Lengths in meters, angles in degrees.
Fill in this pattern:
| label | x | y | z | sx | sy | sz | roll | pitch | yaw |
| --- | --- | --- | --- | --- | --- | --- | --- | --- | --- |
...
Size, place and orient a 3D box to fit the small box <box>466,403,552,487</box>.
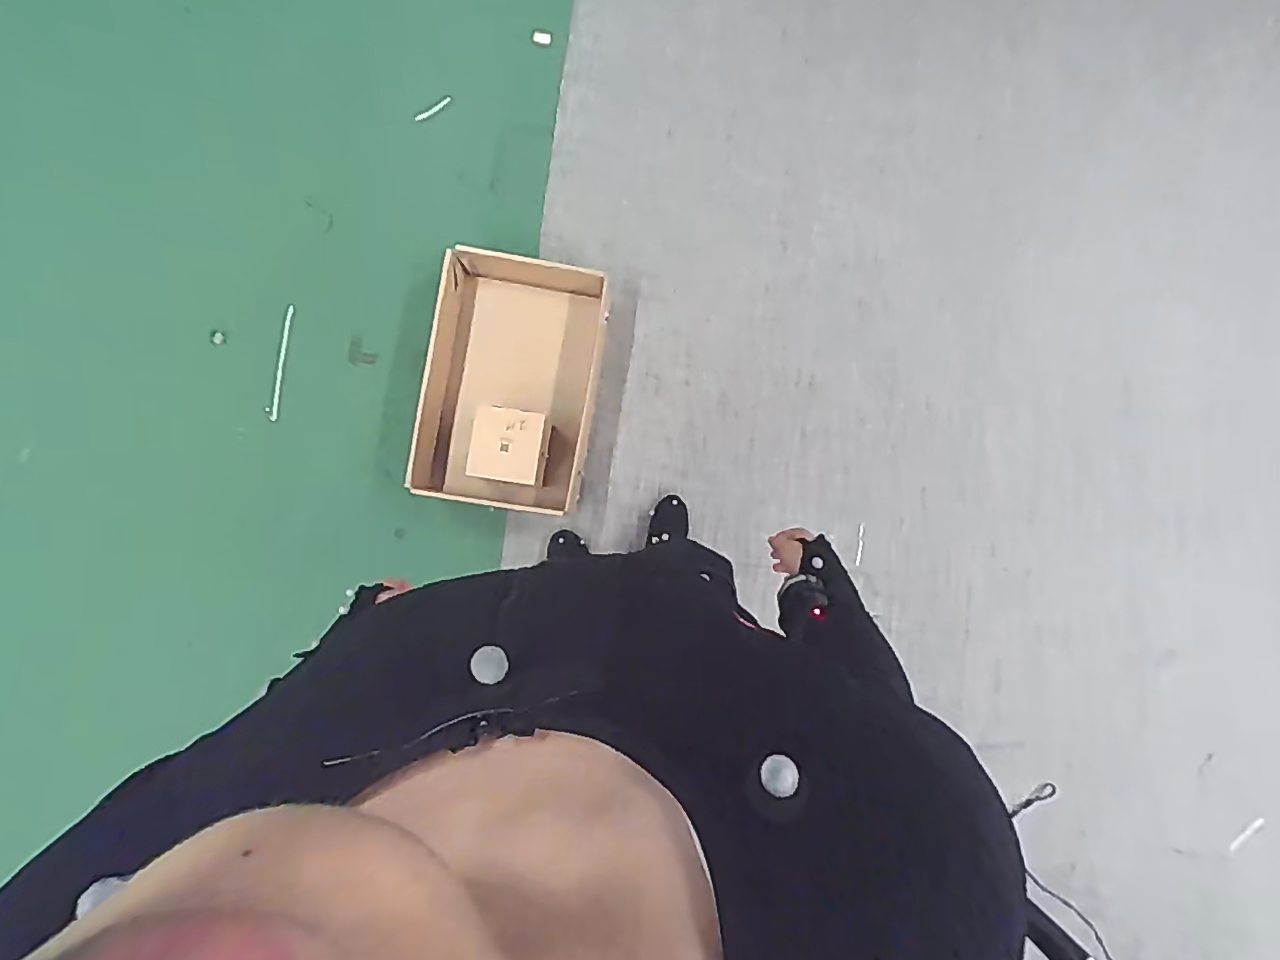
| label | x | y | z | sx | sy | sz | roll | pitch | yaw |
| --- | --- | --- | --- | --- | --- | --- | --- | --- | --- |
| small box | -0.317 | -0.079 | 1.344 | 0.168 | 0.176 | 0.179 | 9 | 86 | -4 |
